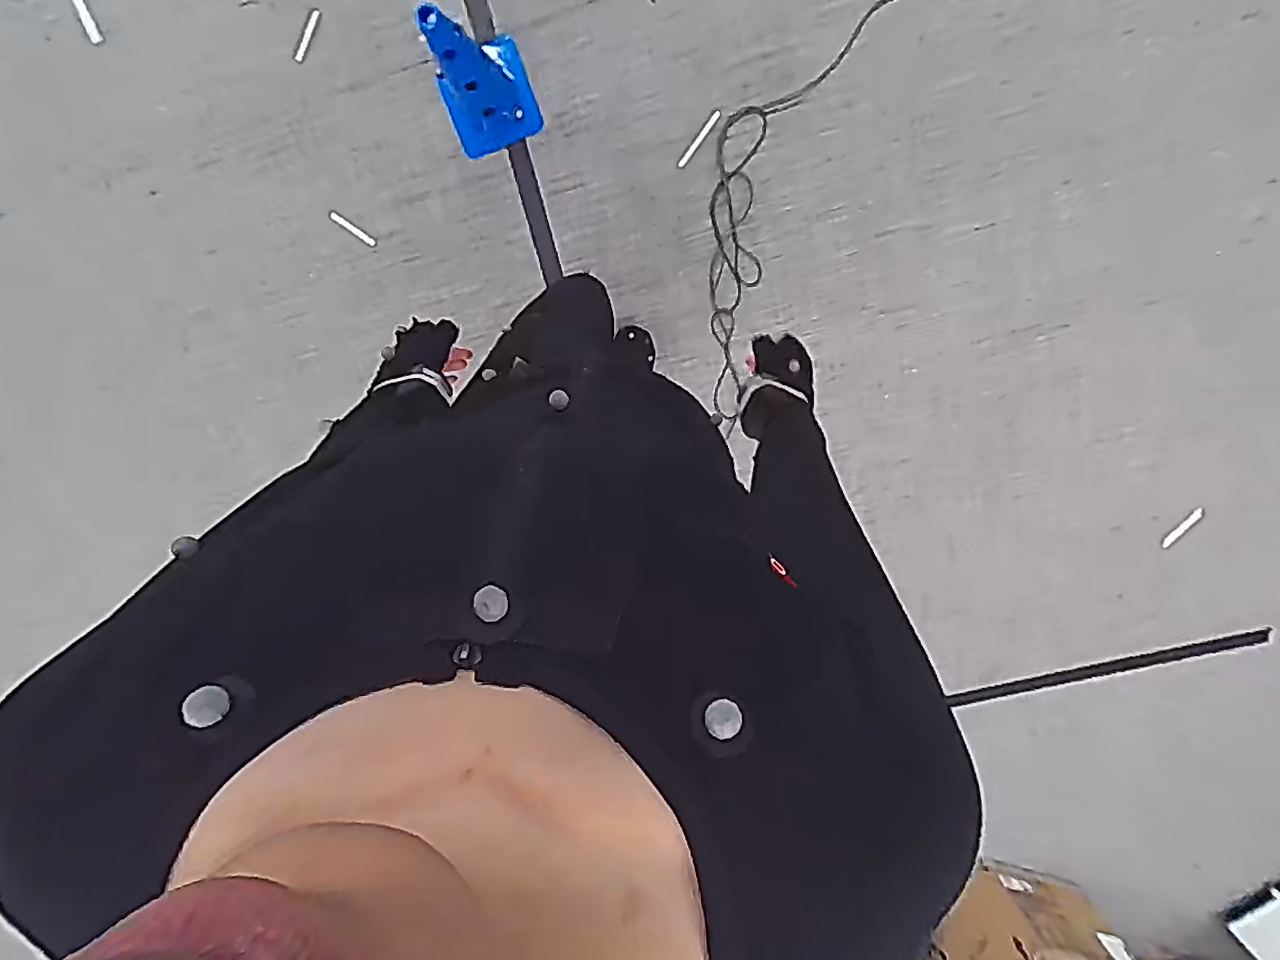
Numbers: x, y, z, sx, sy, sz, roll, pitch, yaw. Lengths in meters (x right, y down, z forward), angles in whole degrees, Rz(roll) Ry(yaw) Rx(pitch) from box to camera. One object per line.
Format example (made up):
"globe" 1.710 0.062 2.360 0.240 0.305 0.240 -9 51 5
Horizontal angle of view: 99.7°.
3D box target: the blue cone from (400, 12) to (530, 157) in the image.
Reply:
"blue cone" -0.365 -0.816 1.074 0.192 0.380 0.193 -17 105 7
